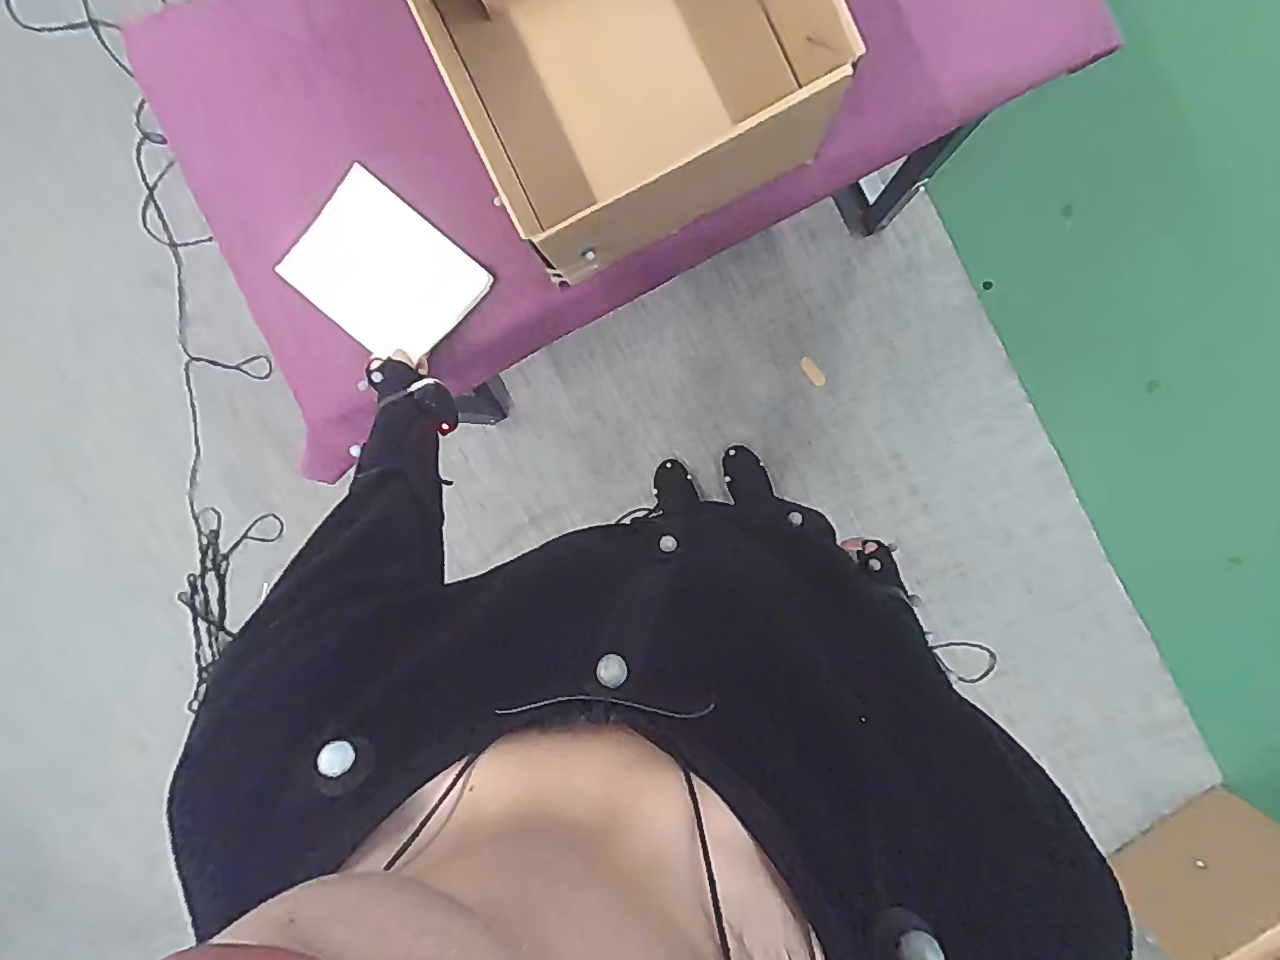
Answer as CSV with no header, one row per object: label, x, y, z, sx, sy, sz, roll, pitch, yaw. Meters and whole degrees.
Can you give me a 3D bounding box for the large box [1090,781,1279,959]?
large box,1.449,1.043,1.303,0.408,0.320,0.320,-41,91,5
